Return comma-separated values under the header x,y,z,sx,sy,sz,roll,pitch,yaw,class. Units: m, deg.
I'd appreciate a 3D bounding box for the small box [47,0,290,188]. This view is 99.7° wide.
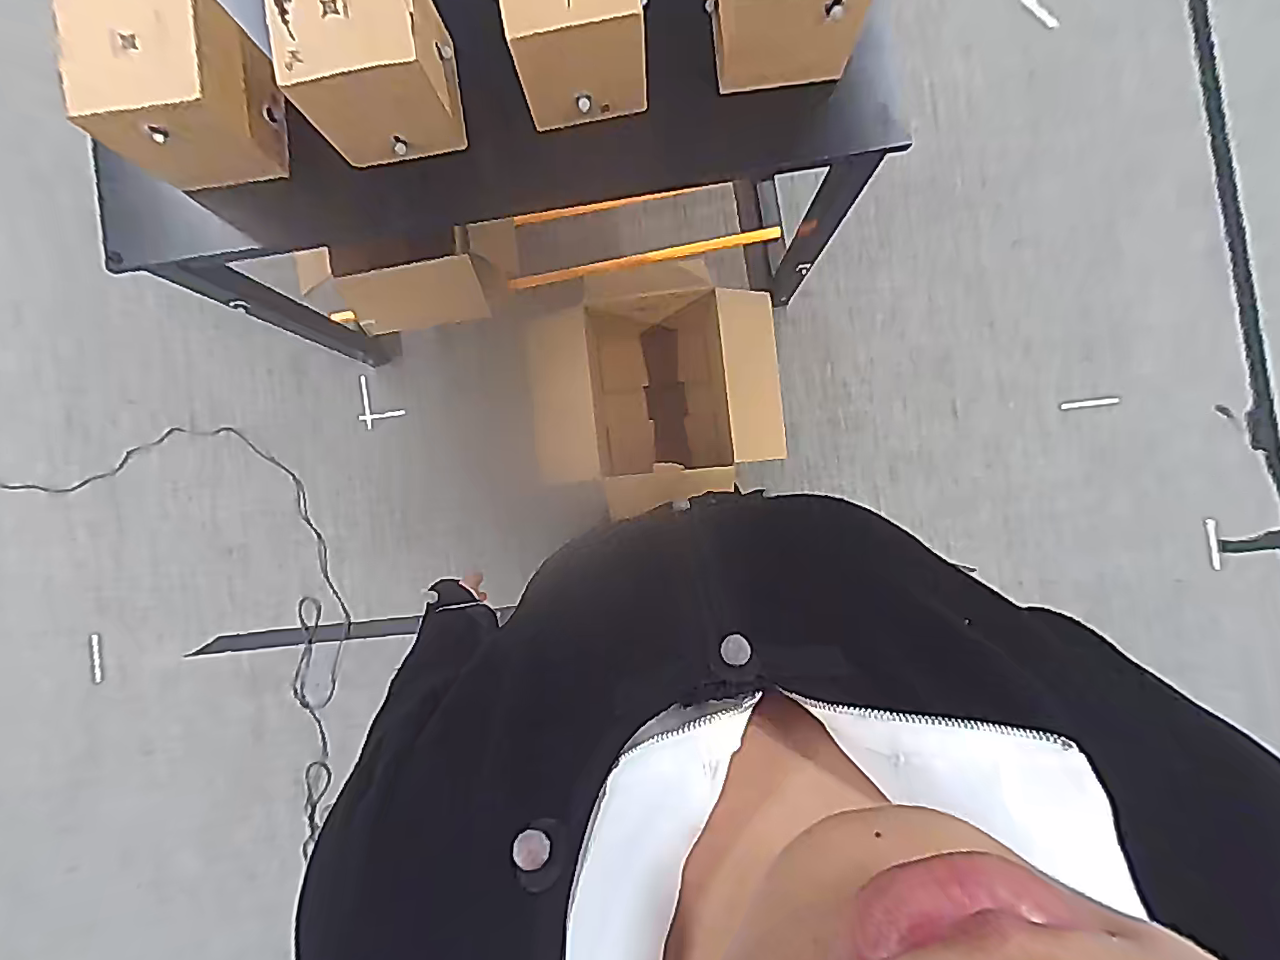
x,y,z,sx,sy,sz,roll,pitch,yaw,class
-0.615,-0.520,0.724,0.179,0.176,0.168,-7,90,1,small box

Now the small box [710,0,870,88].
x,y,z,sx,sy,sz,roll,pitch,yaw,class
0.189,-0.648,0.694,0.179,0.176,0.168,-6,88,2,small box

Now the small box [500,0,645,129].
x,y,z,sx,sy,sz,roll,pitch,yaw,class
-0.087,-0.608,0.706,0.168,0.176,0.179,-10,89,2,small box

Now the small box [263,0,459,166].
x,y,z,sx,sy,sz,roll,pitch,yaw,class
-0.354,-0.553,0.715,0.179,0.176,0.168,-9,88,1,small box
